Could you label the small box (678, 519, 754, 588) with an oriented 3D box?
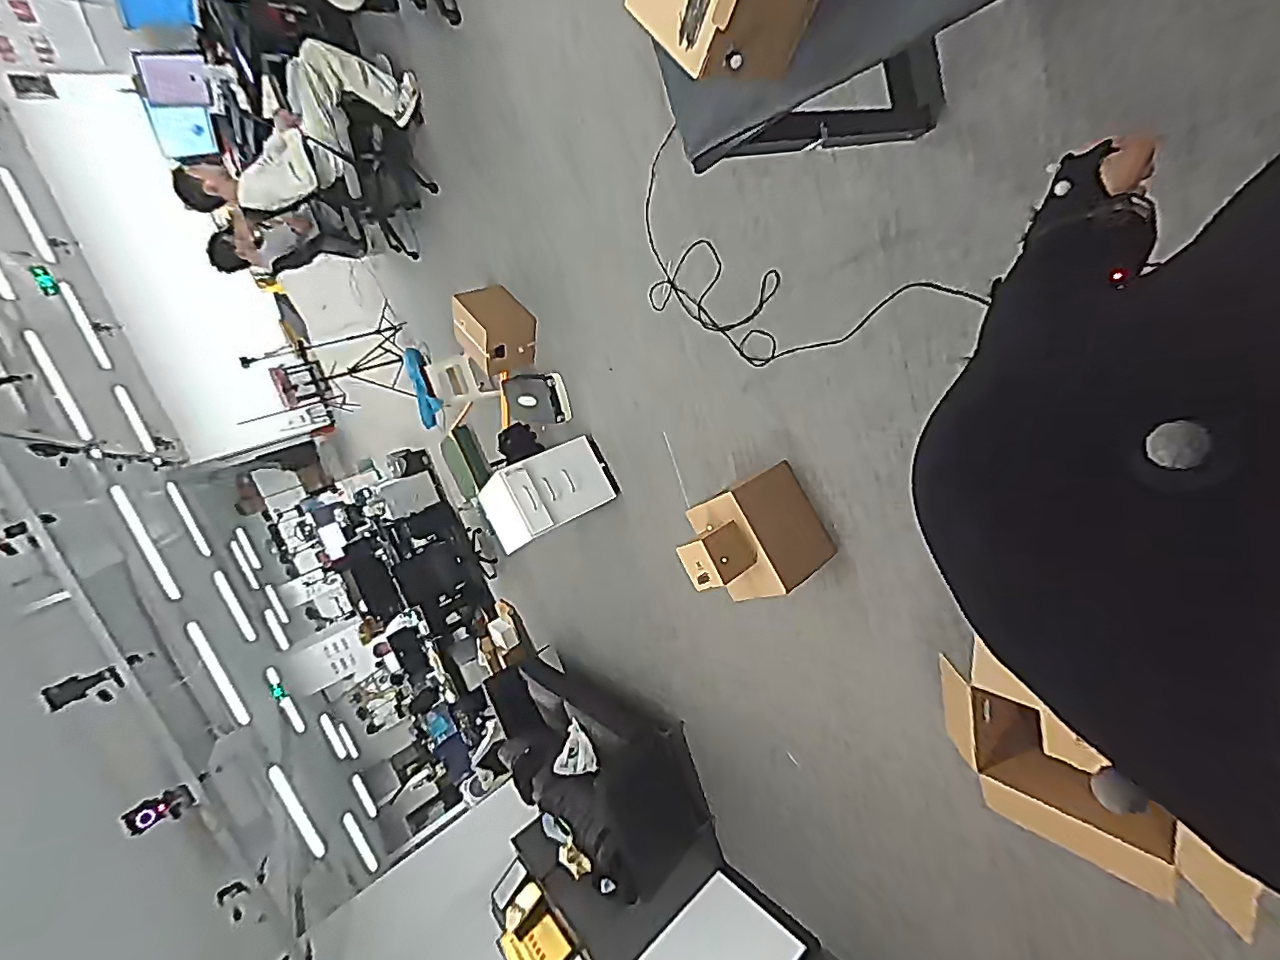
[{"bbox_3d":[0.273,0.262,1.925,0.168,0.176,0.179,-31,86,57],"label":"small box"}]
